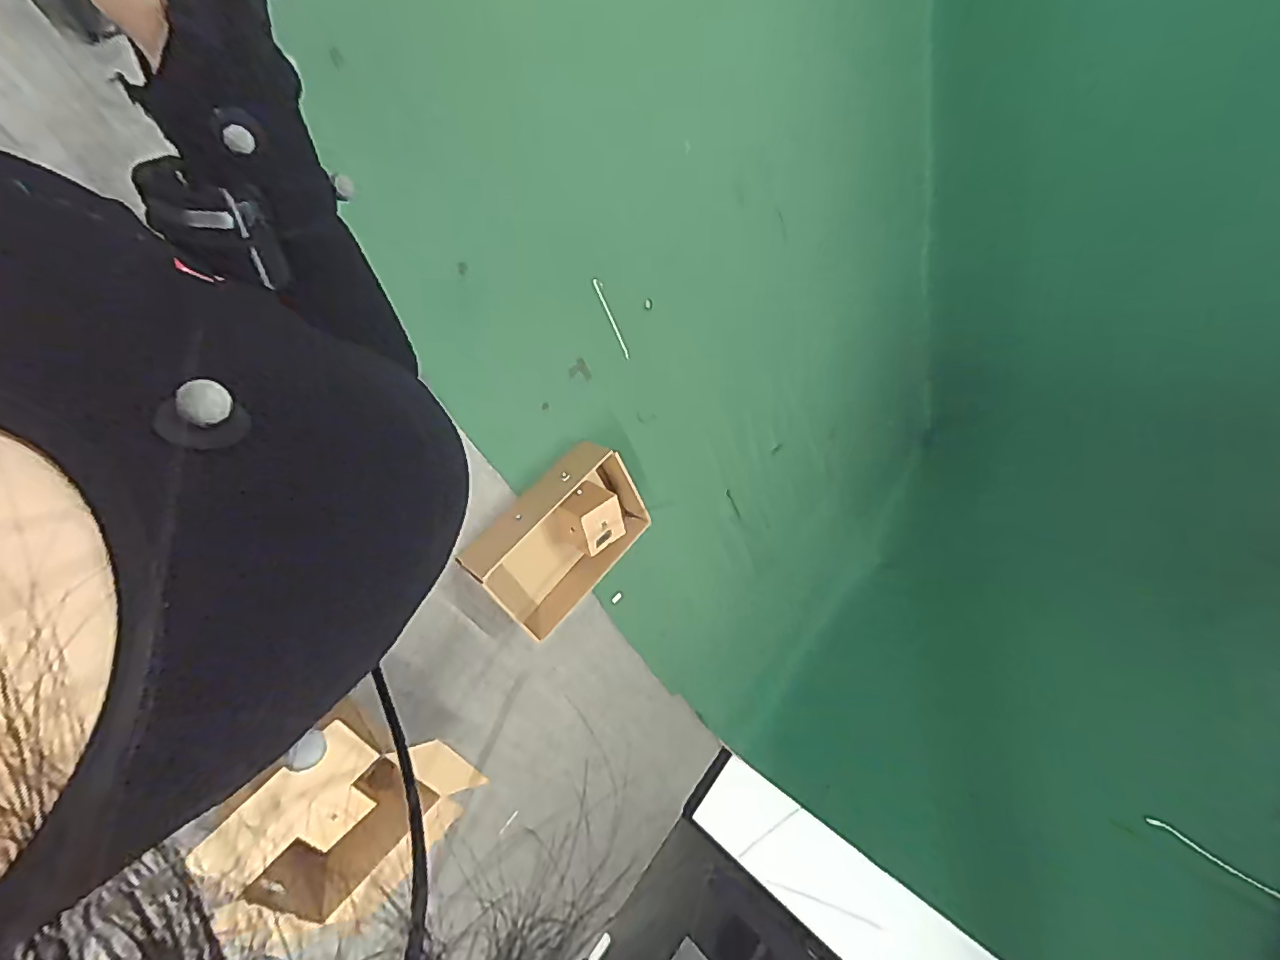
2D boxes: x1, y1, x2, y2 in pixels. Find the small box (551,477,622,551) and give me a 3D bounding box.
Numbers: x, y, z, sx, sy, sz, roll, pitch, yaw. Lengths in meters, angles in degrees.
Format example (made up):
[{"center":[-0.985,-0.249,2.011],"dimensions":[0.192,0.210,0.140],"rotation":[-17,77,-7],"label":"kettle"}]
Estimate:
[{"center":[-0.191,0.116,1.924],"dimensions":[0.168,0.176,0.179],"rotation":[-34,129,-31],"label":"small box"}]
